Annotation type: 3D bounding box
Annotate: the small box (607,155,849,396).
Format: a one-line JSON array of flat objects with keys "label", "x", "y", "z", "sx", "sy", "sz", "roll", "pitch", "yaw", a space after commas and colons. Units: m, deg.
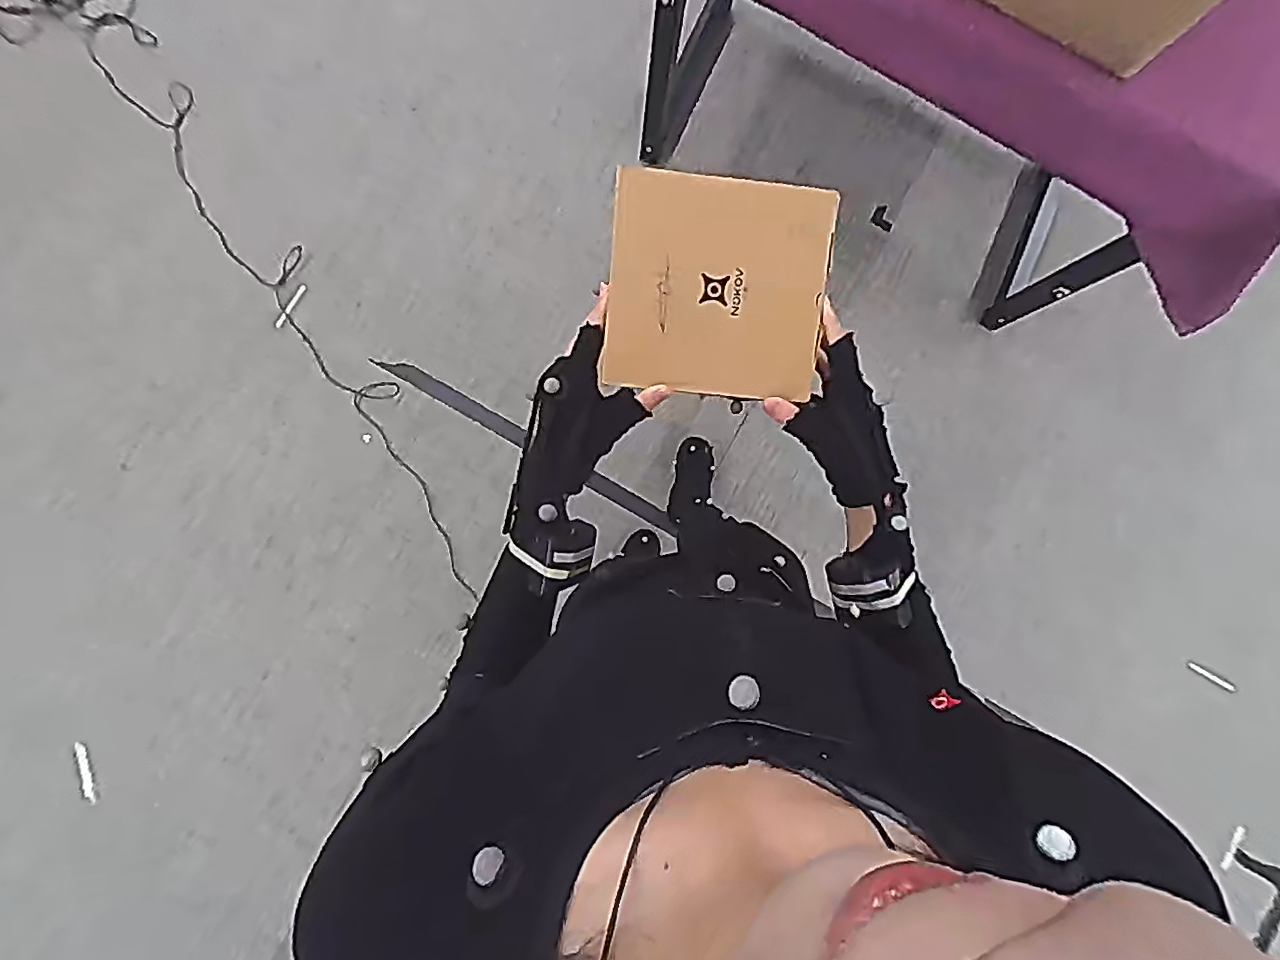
[{"label": "small box", "x": 0.062, "y": -0.167, "z": 0.495, "sx": 0.179, "sy": 0.176, "sz": 0.168, "roll": 4, "pitch": 99, "yaw": -4}]
